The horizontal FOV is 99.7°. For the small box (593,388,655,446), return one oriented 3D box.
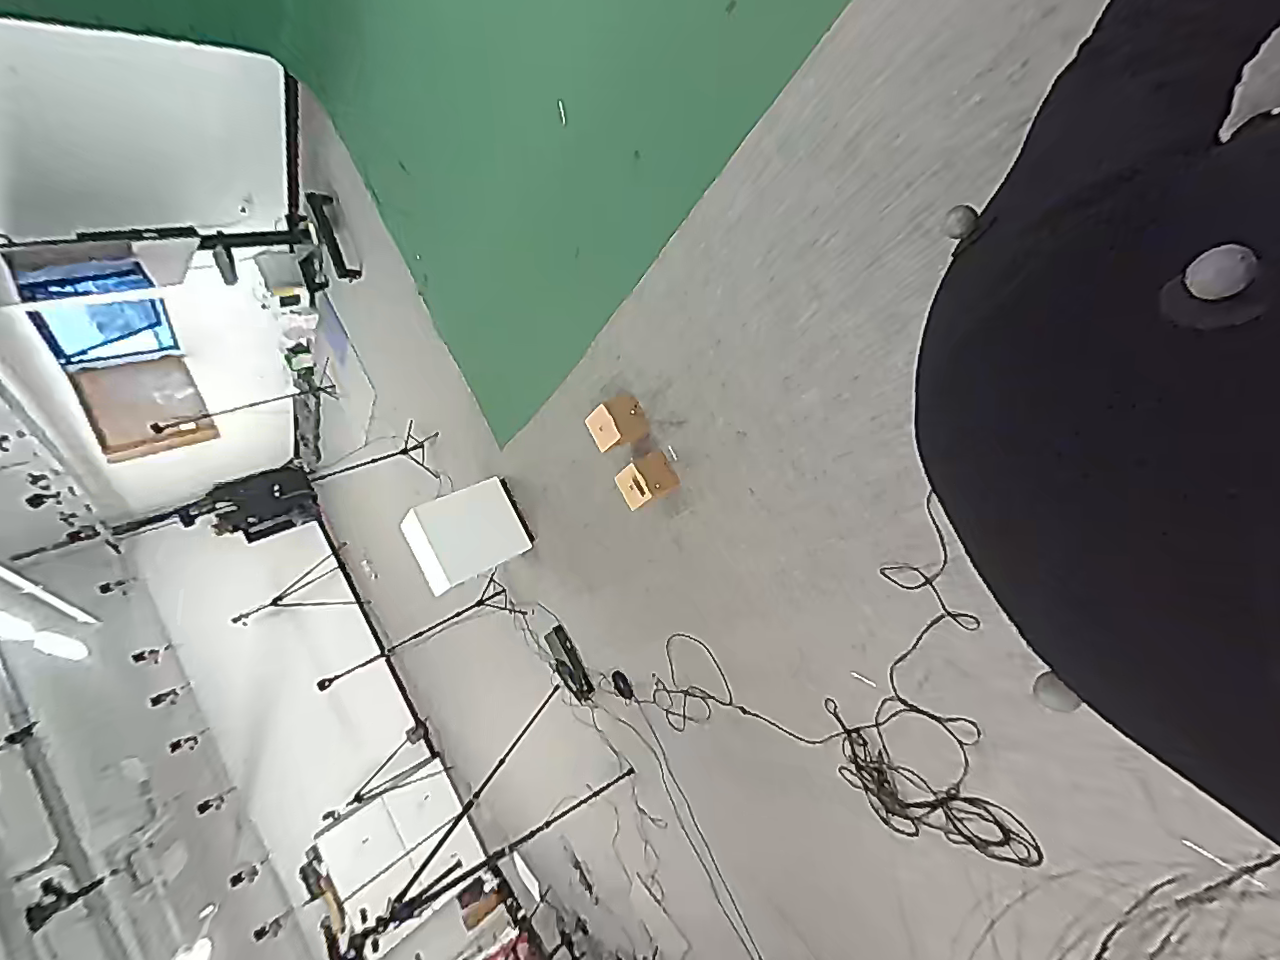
[{"bbox_3d":[-0.067,-0.270,2.307,0.179,0.176,0.168,-34,83,52],"label":"small box"}]
